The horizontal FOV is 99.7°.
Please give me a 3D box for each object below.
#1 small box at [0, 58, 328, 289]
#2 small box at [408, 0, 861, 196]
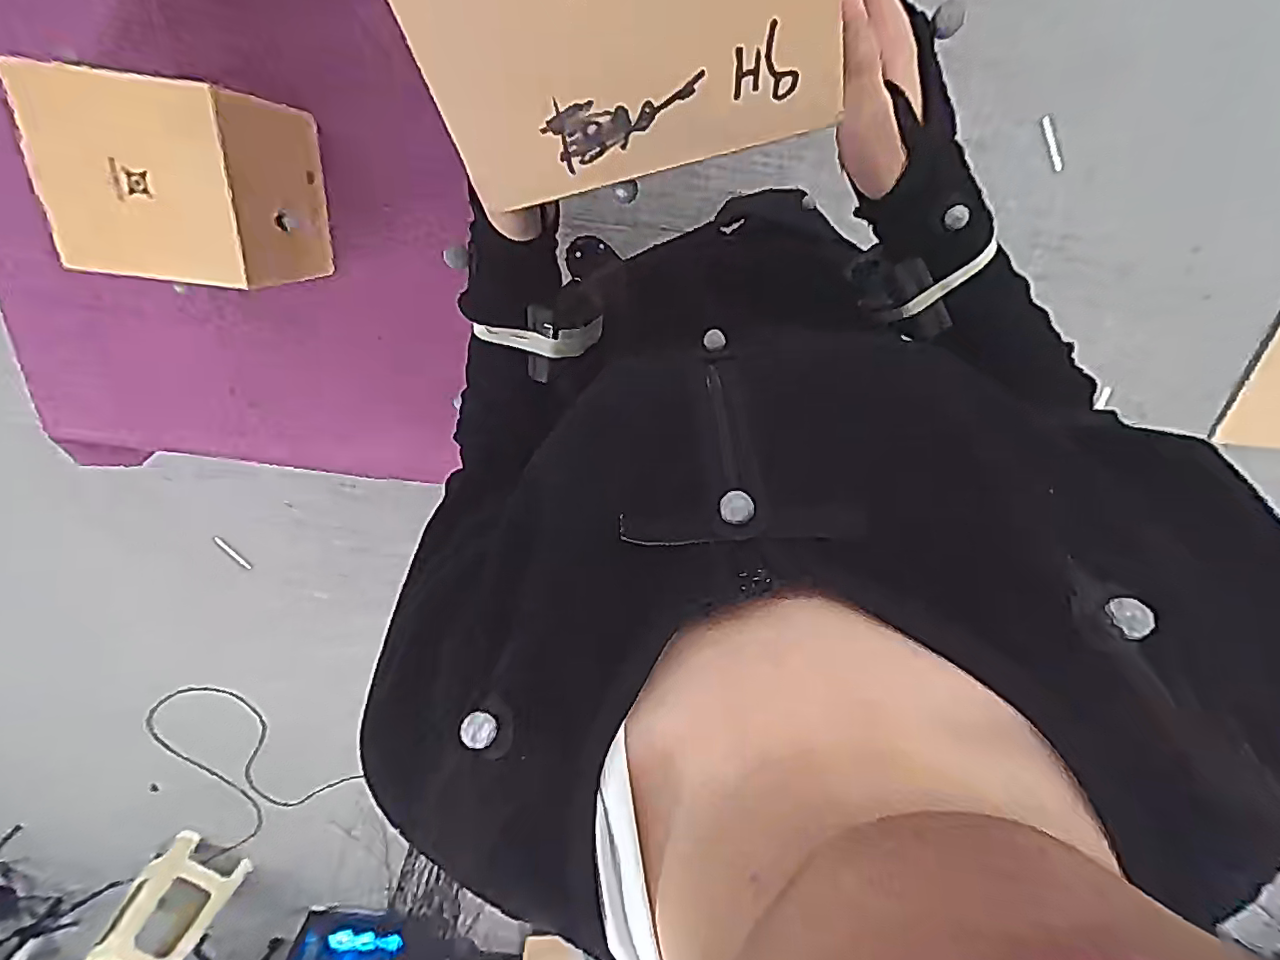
[{"bbox_3d":[-0.448,-0.301,0.553,0.179,0.176,0.168,6,116,-1],"label":"small box"},{"bbox_3d":[-0.001,-0.256,0.231,0.168,0.176,0.179,-4,134,20],"label":"small box"}]
